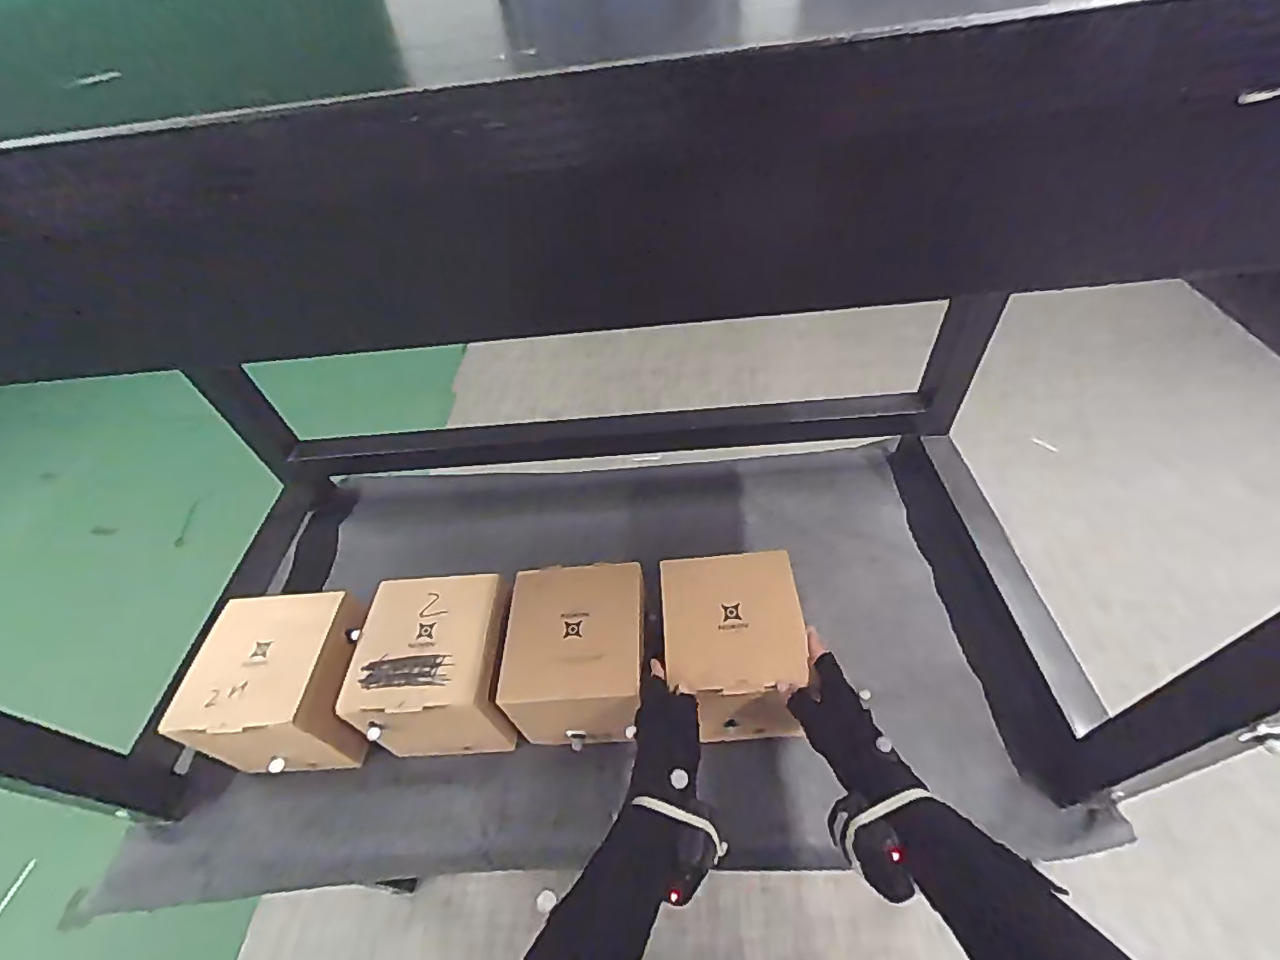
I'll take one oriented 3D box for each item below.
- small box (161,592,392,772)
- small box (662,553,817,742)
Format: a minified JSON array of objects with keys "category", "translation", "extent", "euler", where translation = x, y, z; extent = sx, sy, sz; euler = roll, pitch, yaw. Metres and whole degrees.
[{"category":"small box","translation":[-0.462,0.272,0.727],"extent":[0.168,0.176,0.179],"euler":[-5,47,4]},{"category":"small box","translation":[0.118,0.218,0.700],"extent":[0.168,0.176,0.179],"euler":[-6,47,4]}]
